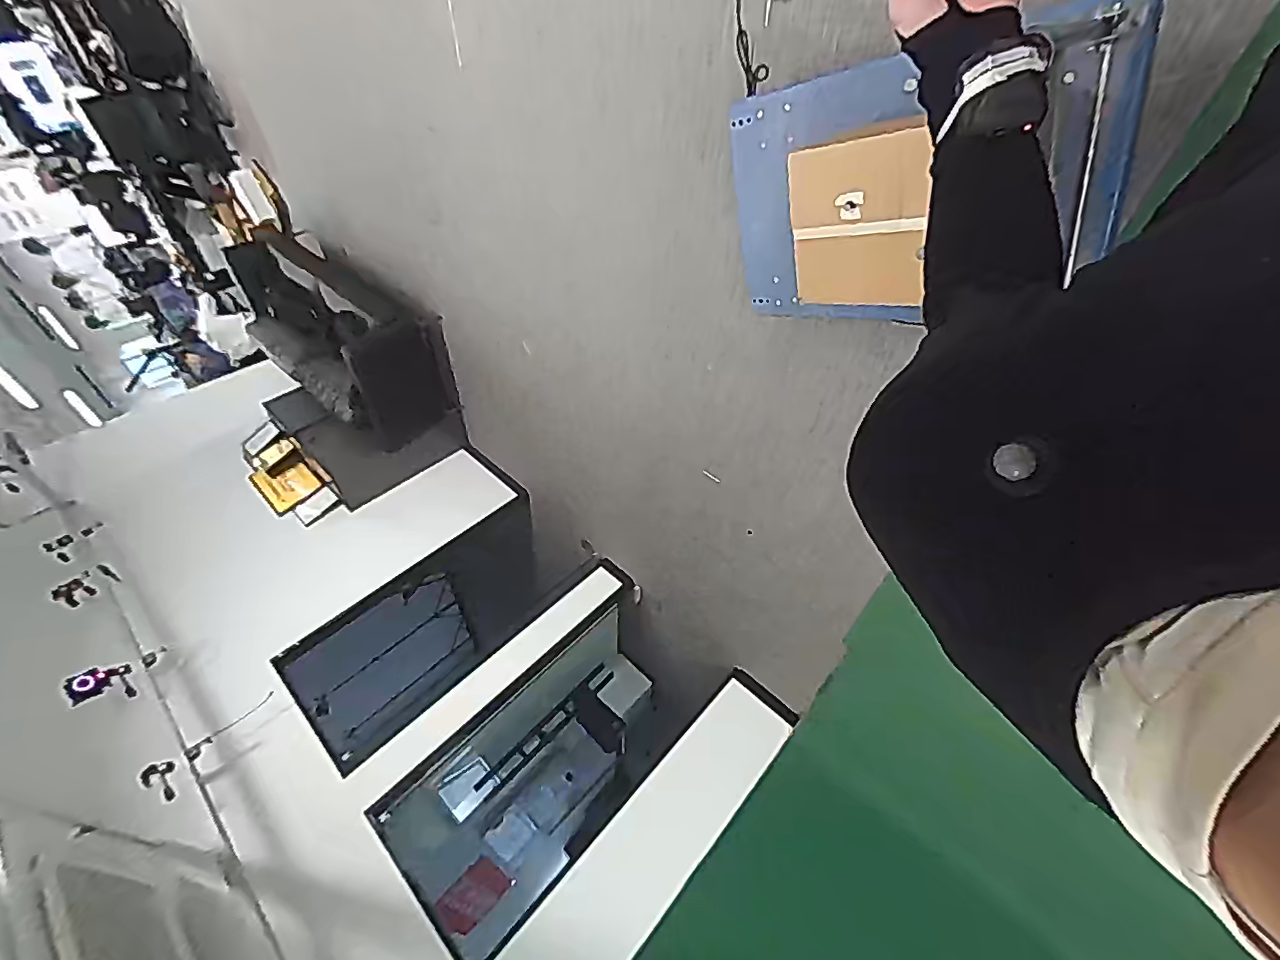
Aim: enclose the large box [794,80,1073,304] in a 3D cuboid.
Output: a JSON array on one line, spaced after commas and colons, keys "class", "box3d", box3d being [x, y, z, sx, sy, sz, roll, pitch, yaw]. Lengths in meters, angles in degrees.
[{"class": "large box", "box3d": [0.588, -0.570, 1.115, 0.408, 0.320, 0.320, 20, 135, 44]}]
